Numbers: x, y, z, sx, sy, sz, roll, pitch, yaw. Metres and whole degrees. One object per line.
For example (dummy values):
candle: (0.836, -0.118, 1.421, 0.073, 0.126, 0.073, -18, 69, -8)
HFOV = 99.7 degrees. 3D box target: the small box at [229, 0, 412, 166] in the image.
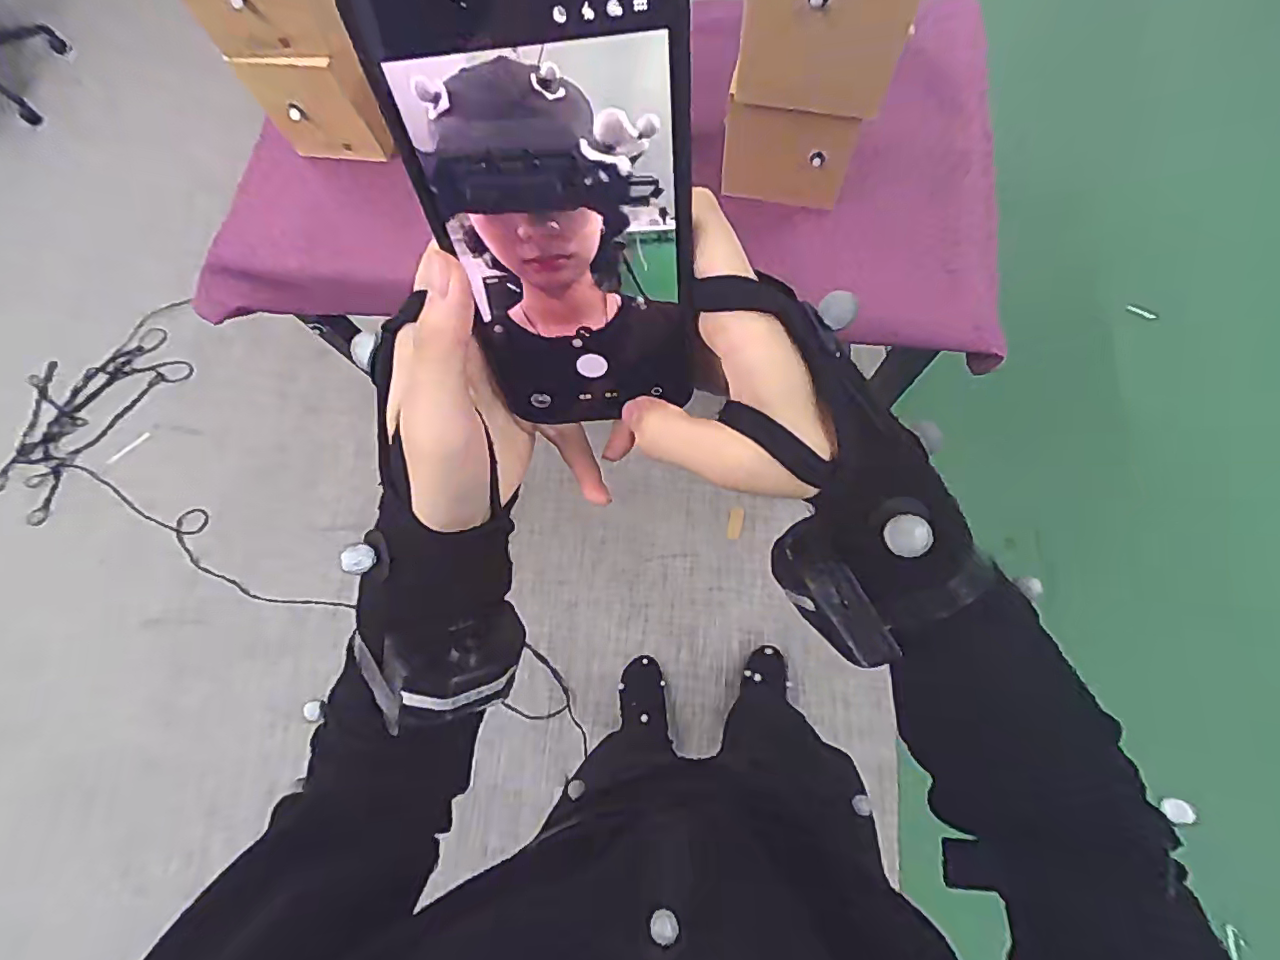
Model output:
small box: (-0.498, -0.641, 0.872, 0.168, 0.176, 0.179, 7, 74, 7)

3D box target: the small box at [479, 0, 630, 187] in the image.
small box: (-0.116, -0.576, 0.820, 0.179, 0.176, 0.168, 7, 74, 7)

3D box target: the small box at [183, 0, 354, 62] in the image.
small box: (-0.510, -0.696, 0.718, 0.168, 0.176, 0.179, 3, 74, 5)

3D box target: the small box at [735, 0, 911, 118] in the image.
small box: (0.211, -0.553, 0.616, 0.179, 0.176, 0.168, 13, 75, 8)

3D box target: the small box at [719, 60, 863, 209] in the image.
small box: (0.219, -0.522, 0.778, 0.179, 0.176, 0.168, 13, 75, 9)
